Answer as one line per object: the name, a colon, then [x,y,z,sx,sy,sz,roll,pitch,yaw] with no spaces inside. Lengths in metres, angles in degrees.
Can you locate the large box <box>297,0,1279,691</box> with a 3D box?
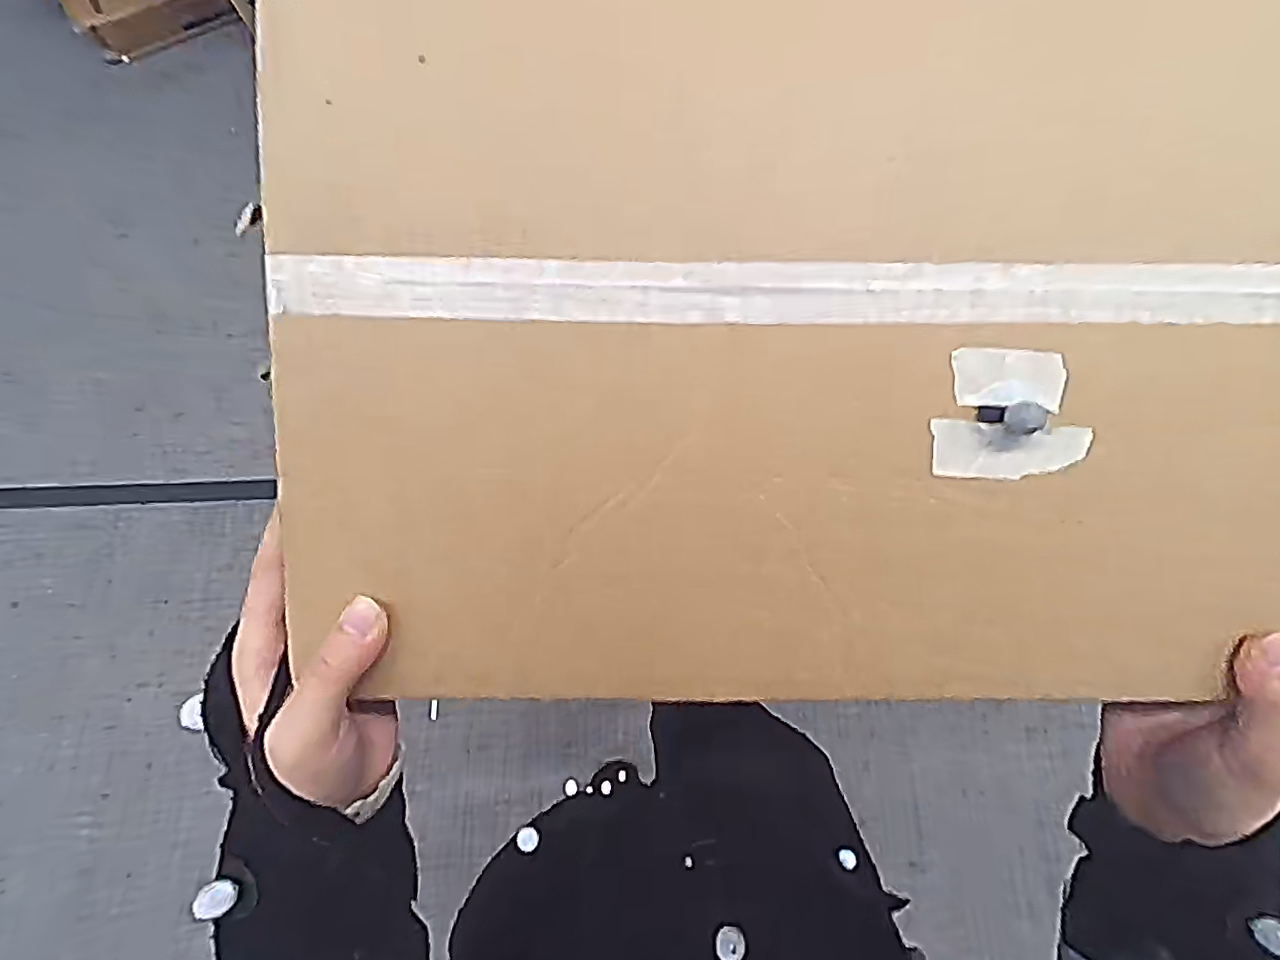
large box: [0.064,-0.080,0.362,0.408,0.320,0.320,0,94,-2]
